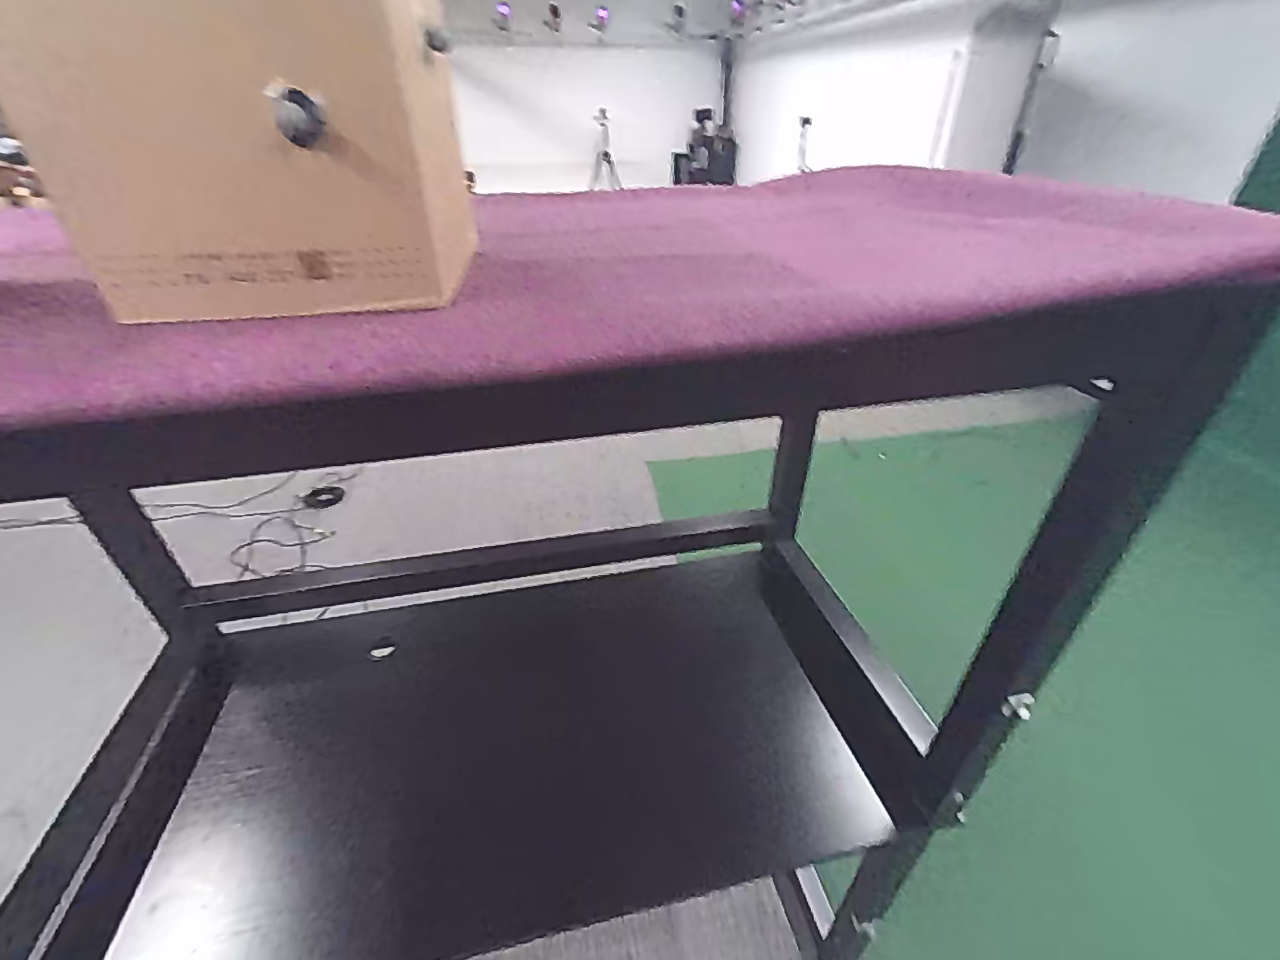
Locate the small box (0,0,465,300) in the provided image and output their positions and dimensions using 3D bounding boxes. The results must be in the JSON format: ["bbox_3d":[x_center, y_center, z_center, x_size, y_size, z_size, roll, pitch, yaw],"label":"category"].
[{"bbox_3d":[-0.202,-0.204,0.304,0.168,0.176,0.179,-5,33,-8],"label":"small box"}]
